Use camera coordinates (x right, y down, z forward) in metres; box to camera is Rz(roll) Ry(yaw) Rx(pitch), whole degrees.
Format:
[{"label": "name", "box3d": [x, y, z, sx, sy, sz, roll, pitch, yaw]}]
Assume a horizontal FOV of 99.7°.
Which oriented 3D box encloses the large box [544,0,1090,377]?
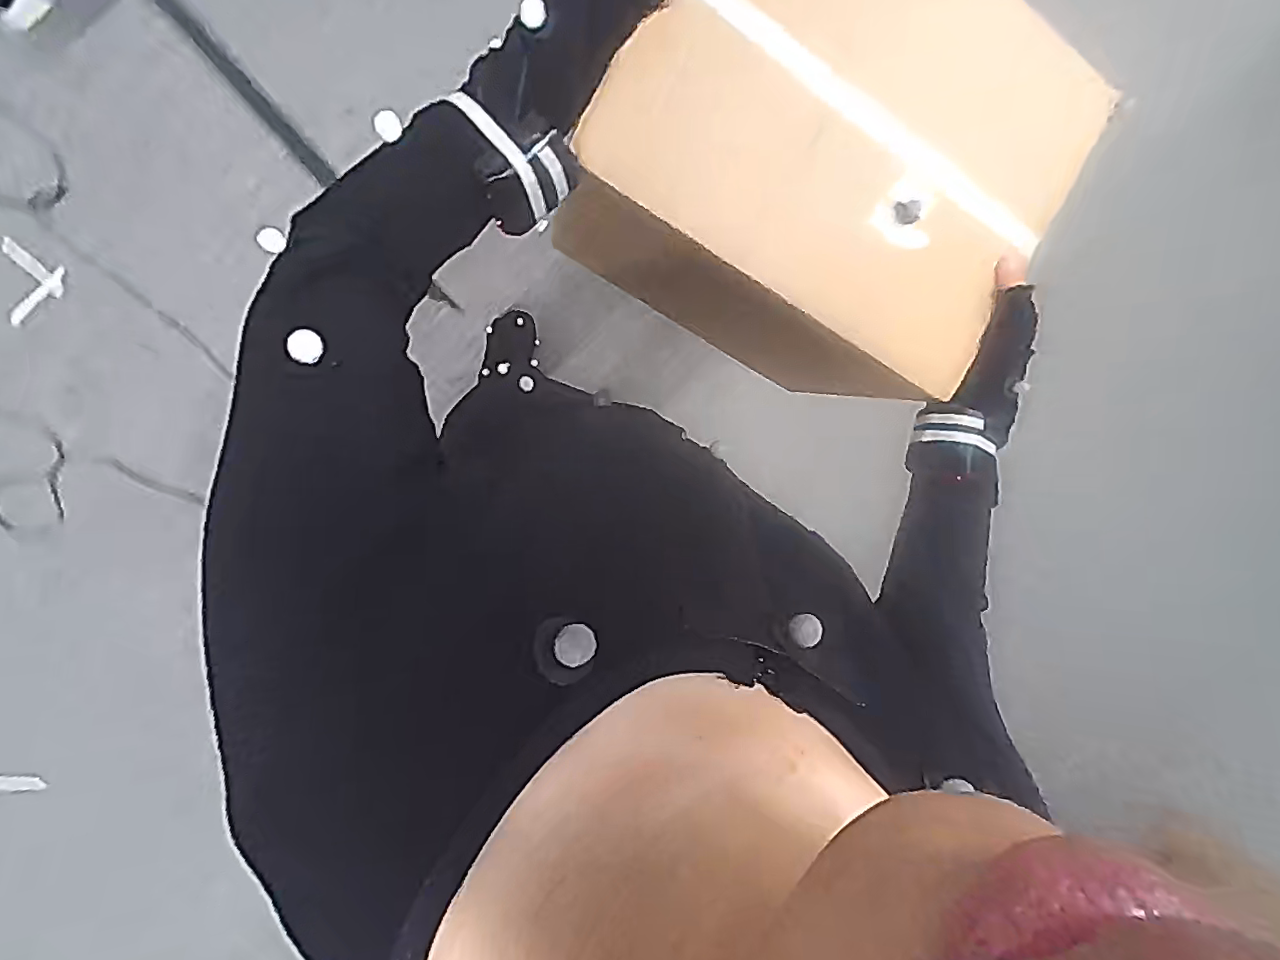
[{"label": "large box", "box3d": [0.143, -0.339, 0.596, 0.408, 0.320, 0.320, 25, 95, -16]}]
